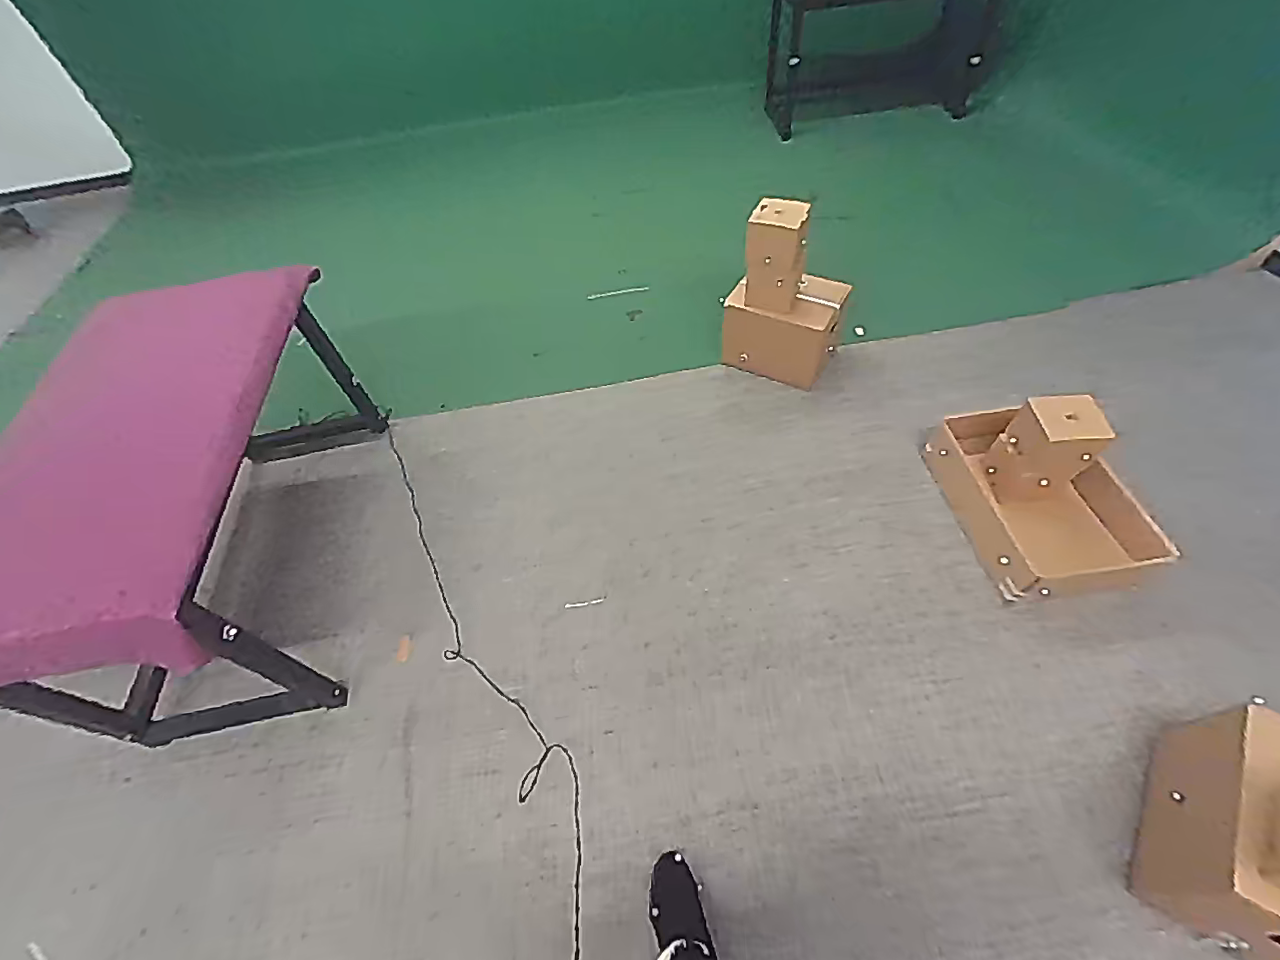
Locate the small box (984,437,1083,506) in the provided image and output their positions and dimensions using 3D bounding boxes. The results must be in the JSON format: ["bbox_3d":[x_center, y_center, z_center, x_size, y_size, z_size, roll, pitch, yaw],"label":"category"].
[{"bbox_3d":[1.262,-0.032,1.748,0.179,0.176,0.168,-6,56,4],"label":"small box"}]

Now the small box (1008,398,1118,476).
[{"bbox_3d":[1.252,-0.124,1.614,0.179,0.176,0.168,-3,55,6],"label":"small box"}]

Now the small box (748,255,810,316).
[{"bbox_3d":[0.521,-0.745,2.044,0.179,0.176,0.168,18,57,19],"label":"small box"}]

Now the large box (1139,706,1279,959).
[{"bbox_3d":[1.318,0.767,1.111,0.320,0.320,0.408,27,59,23],"label":"large box"}]

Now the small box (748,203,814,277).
[{"bbox_3d":[0.496,-0.847,1.916,0.179,0.176,0.168,20,58,19],"label":"small box"}]
